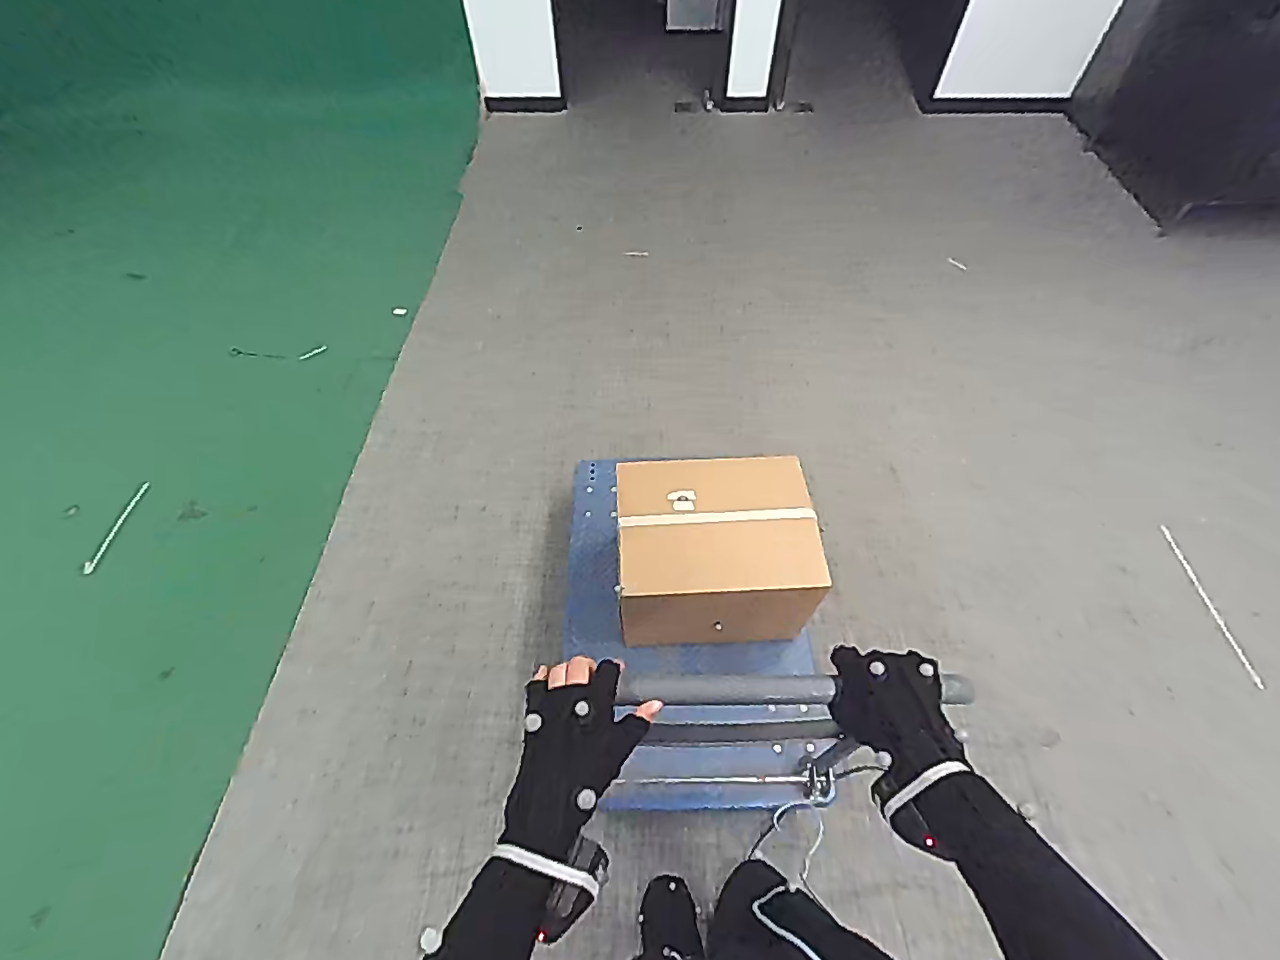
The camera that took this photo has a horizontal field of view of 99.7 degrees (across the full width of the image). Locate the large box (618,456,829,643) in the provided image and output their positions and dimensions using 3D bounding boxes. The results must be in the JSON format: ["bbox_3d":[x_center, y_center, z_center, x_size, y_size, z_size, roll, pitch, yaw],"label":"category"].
[{"bbox_3d":[0.165,0.170,1.243,0.408,0.320,0.320,-4,56,0],"label":"large box"}]
